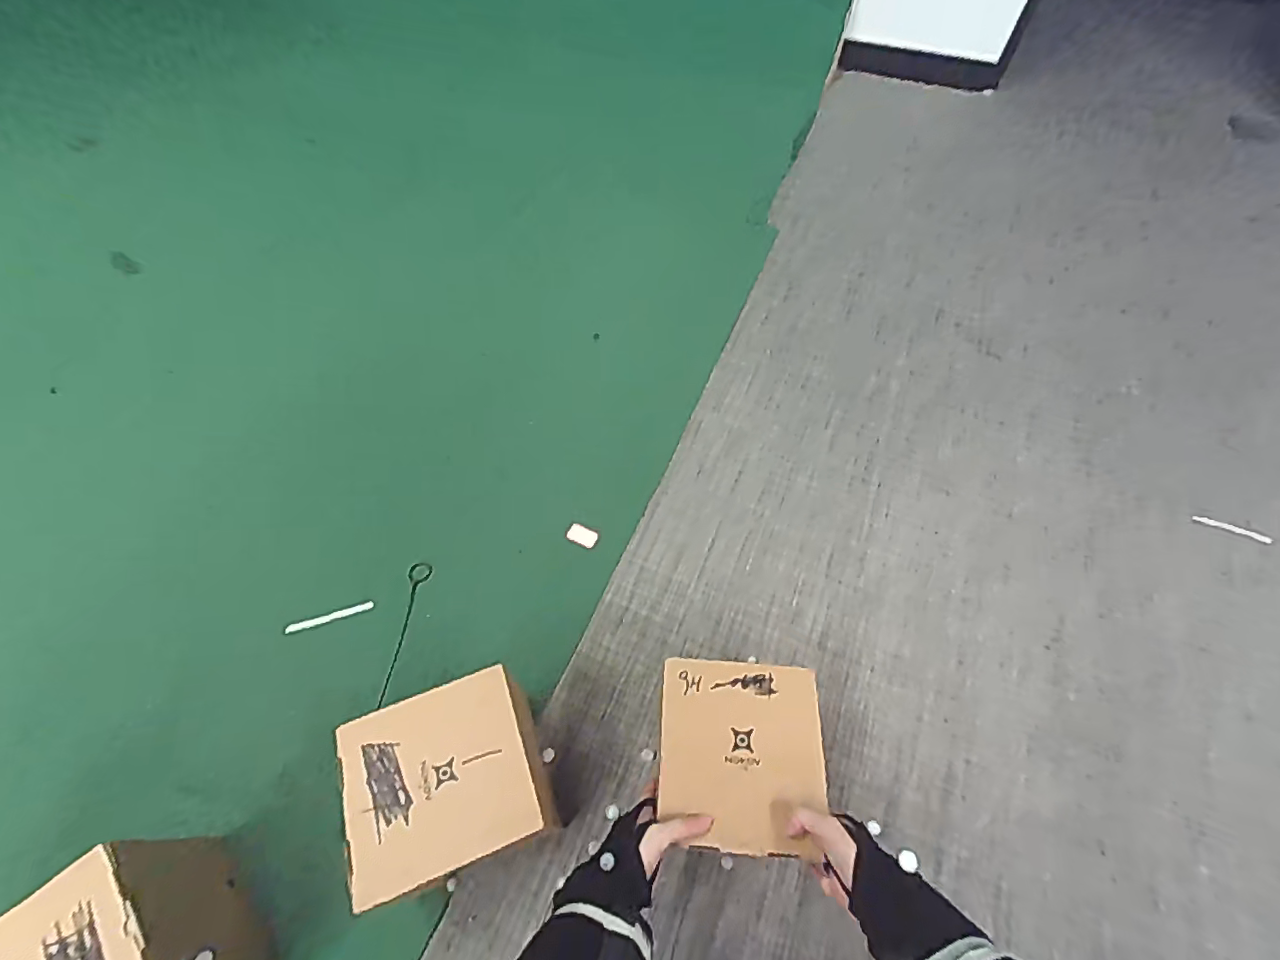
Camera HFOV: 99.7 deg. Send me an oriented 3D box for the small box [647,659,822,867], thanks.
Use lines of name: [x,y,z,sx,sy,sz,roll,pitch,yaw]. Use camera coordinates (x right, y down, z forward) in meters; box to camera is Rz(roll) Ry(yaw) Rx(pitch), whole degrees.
small box: [0.097,0.318,0.614,0.168,0.176,0.179,4,59,2]

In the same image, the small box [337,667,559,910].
small box: [-0.203,0.336,0.599,0.179,0.176,0.168,-18,59,-13]
